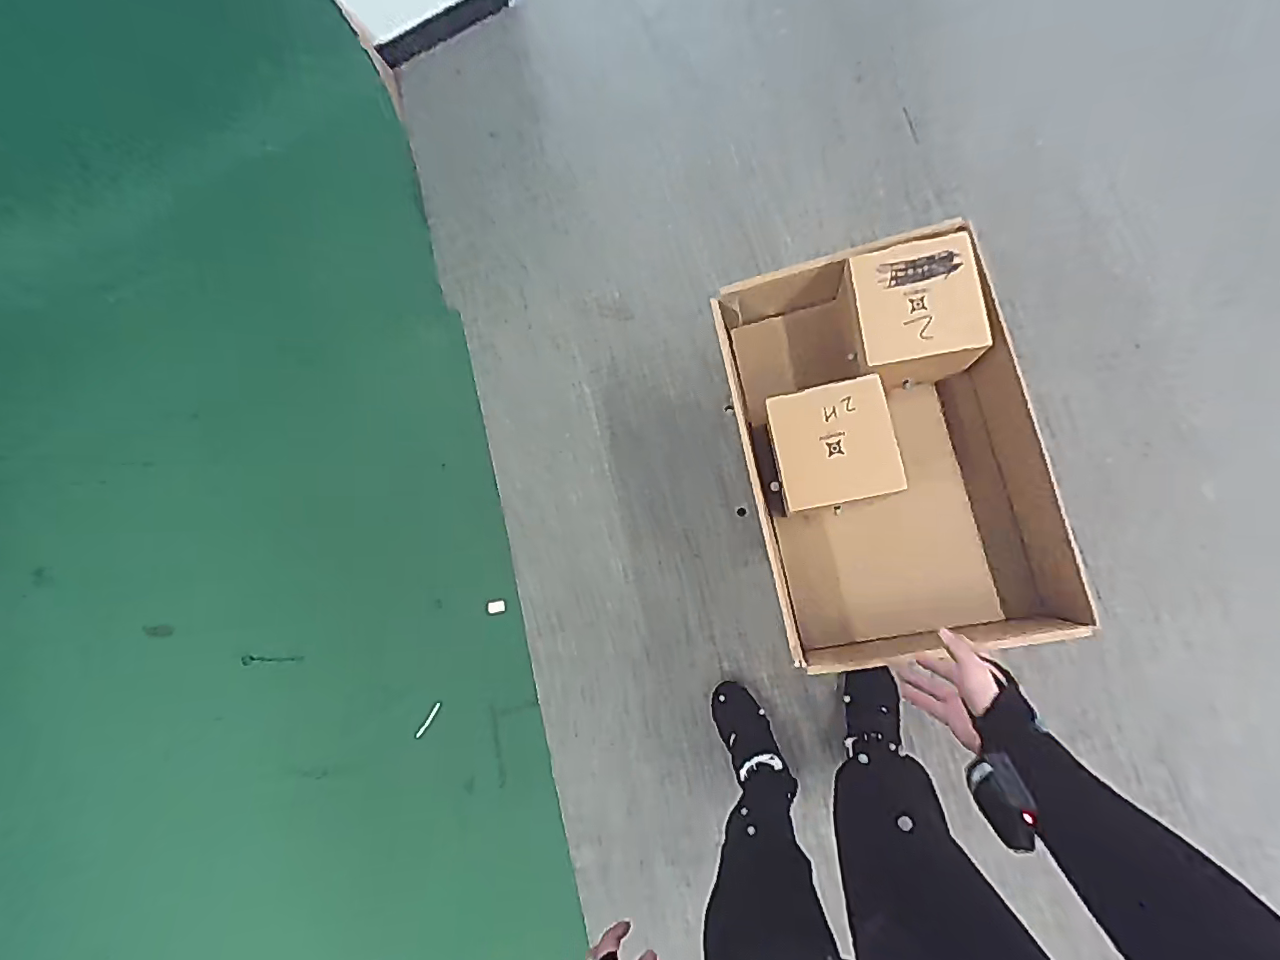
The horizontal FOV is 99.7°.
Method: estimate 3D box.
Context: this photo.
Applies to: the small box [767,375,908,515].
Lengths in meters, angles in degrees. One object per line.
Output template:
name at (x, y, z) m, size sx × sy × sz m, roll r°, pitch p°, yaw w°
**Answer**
small box at (0.299, -0.043, 0.847) m, size 0.168 × 0.176 × 0.179 m, roll -12°, pitch 81°, yaw 12°
